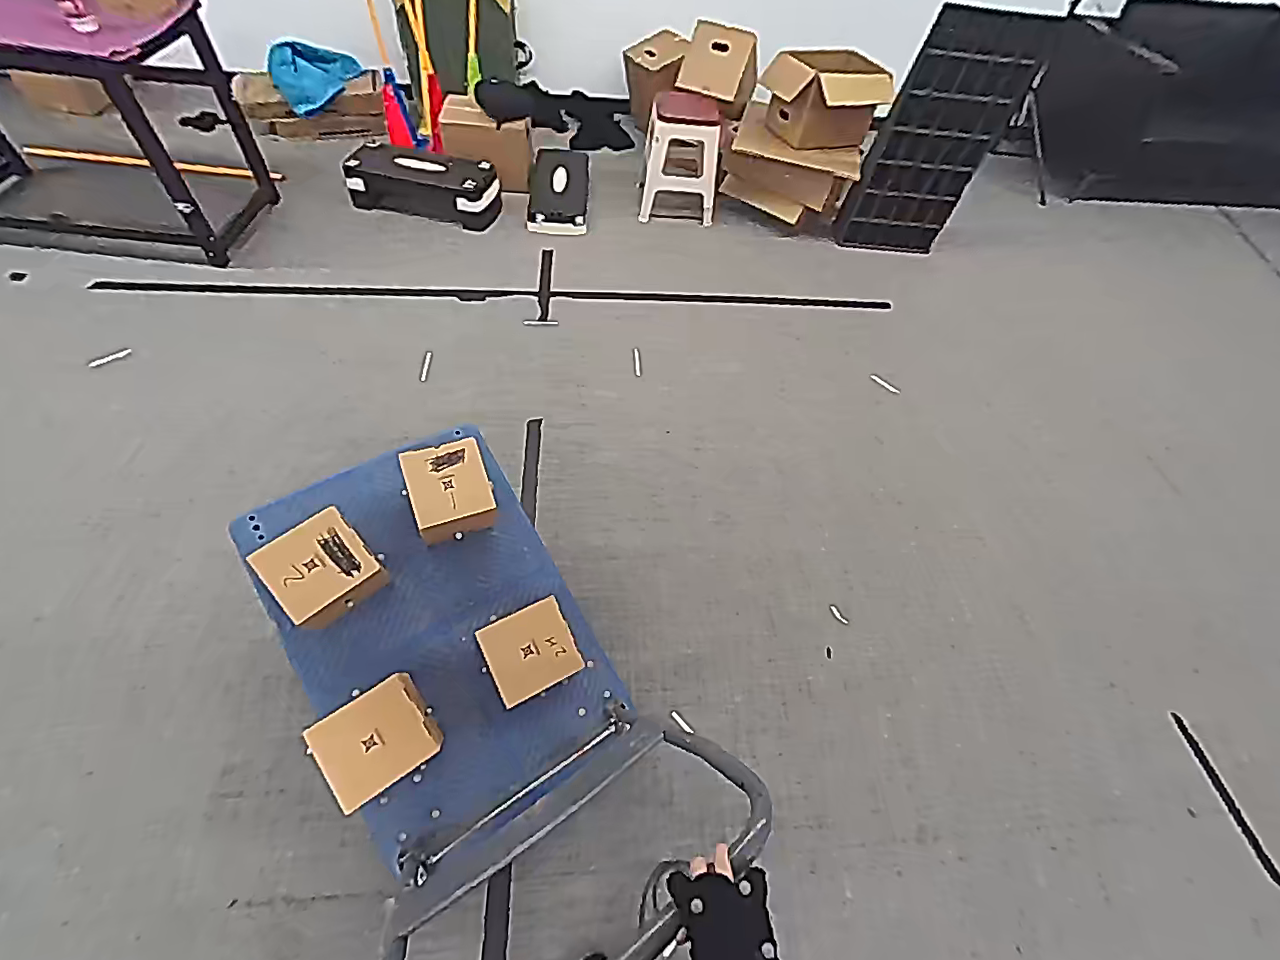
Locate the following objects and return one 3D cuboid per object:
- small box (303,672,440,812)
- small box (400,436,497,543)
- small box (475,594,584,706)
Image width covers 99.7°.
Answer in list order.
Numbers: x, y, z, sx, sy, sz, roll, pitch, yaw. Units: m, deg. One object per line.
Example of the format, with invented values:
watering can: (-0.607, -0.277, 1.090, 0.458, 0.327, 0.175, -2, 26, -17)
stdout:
small box: (-0.506, 0.495, 1.045, 0.179, 0.176, 0.168, -30, 82, -26)
small box: (-0.434, 0.025, 1.232, 0.168, 0.176, 0.179, -16, 78, -21)
small box: (-0.243, 0.367, 1.170, 0.179, 0.176, 0.168, -22, 79, -22)
